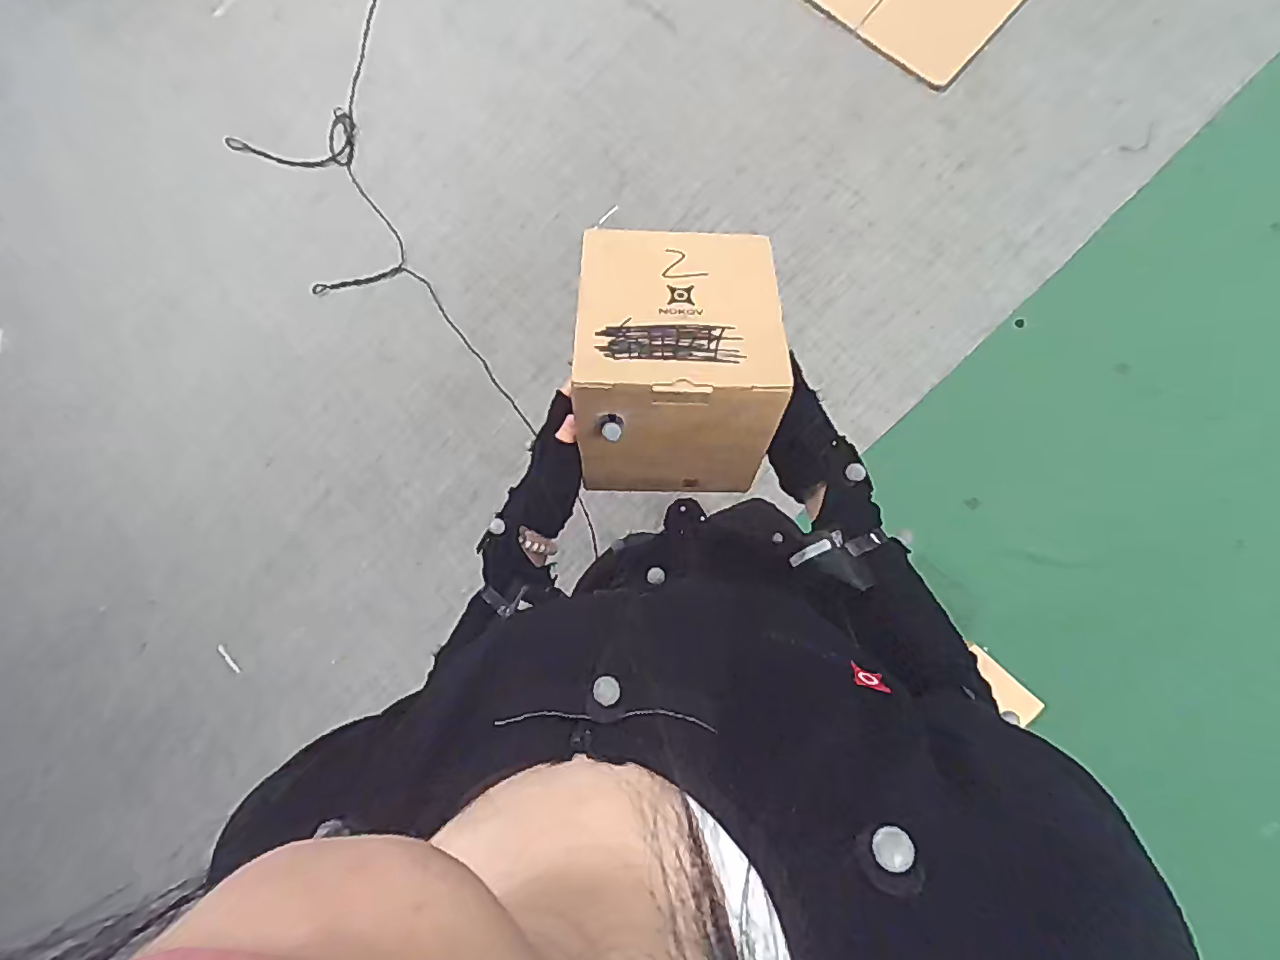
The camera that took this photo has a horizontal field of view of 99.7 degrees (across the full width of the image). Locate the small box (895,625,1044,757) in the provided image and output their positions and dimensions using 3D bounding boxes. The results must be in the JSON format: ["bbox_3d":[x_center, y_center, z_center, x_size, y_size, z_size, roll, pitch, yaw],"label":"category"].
[{"bbox_3d":[0.683,0.433,1.145,0.179,0.176,0.168,42,94,9],"label":"small box"}]
